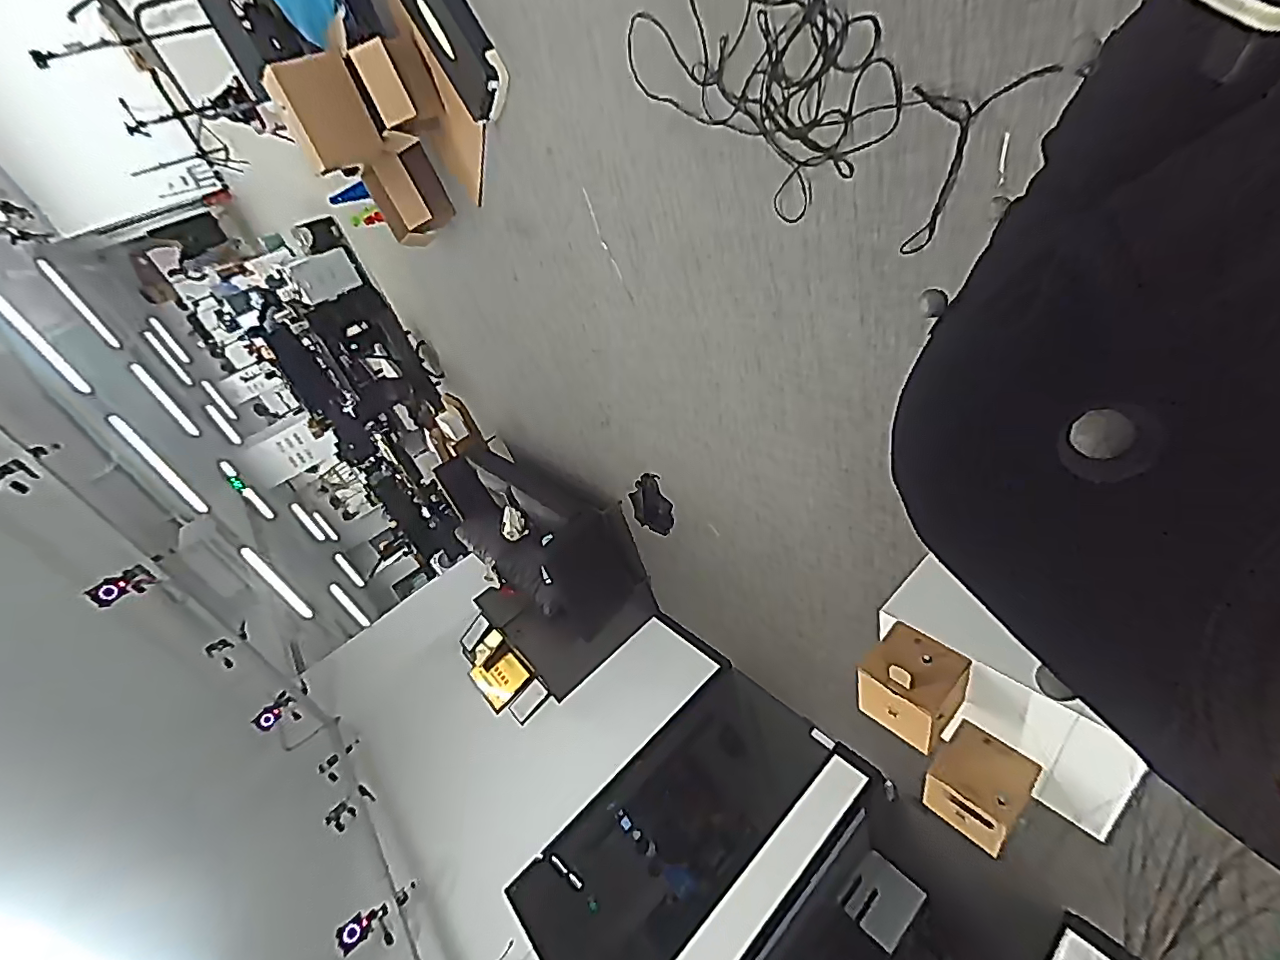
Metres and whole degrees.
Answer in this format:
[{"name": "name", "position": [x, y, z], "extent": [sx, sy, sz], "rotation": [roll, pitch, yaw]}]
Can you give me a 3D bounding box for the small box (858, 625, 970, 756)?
[{"name": "small box", "position": [0.610, 0.466, 1.211], "extent": [0.168, 0.176, 0.179], "rotation": [28, 146, 45]}]
